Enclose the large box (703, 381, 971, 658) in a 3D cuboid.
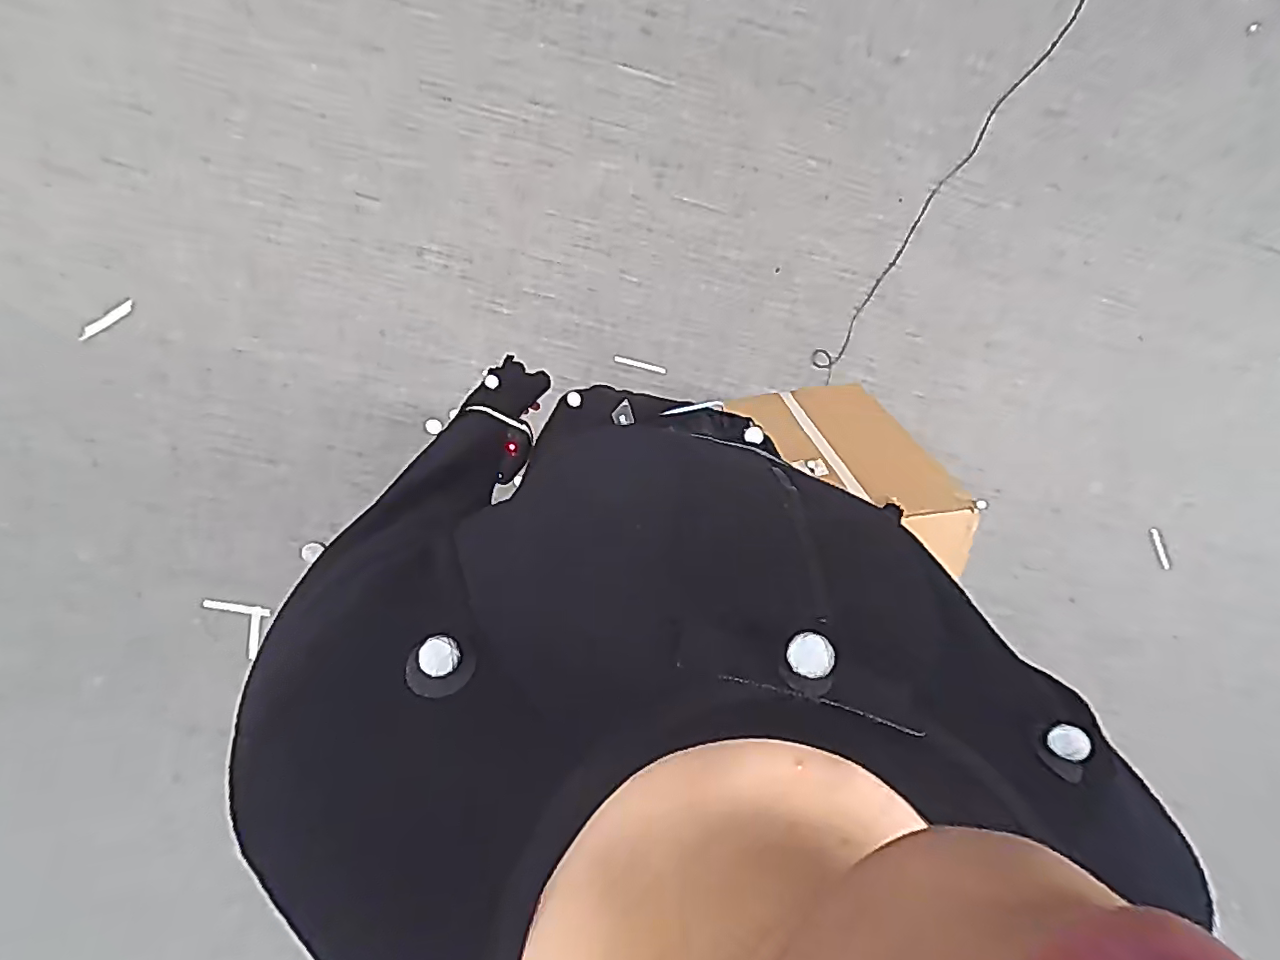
[{"bbox_3d":[0.315,0.057,1.016,0.320,0.408,0.320,-9,128,-2],"label":"large box"}]
